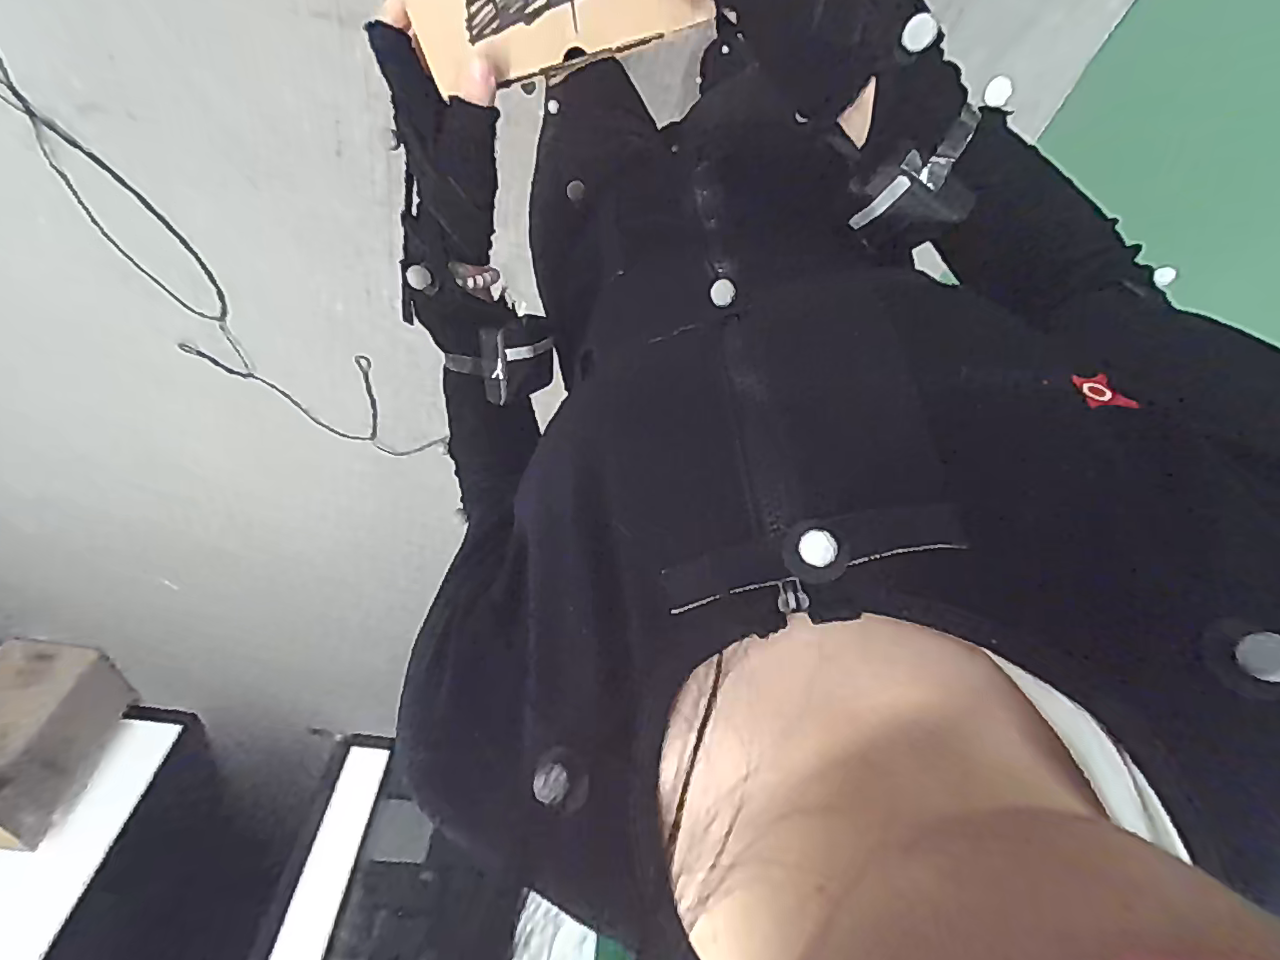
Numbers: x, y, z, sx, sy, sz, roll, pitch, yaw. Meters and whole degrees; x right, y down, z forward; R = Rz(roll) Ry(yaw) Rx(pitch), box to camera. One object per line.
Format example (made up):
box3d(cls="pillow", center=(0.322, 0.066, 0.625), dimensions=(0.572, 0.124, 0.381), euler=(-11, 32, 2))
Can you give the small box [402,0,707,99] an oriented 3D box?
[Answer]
box3d(cls="small box", center=(-0.061, -0.358, 0.314), dimensions=(0.168, 0.176, 0.179), euler=(-12, 131, 9))
